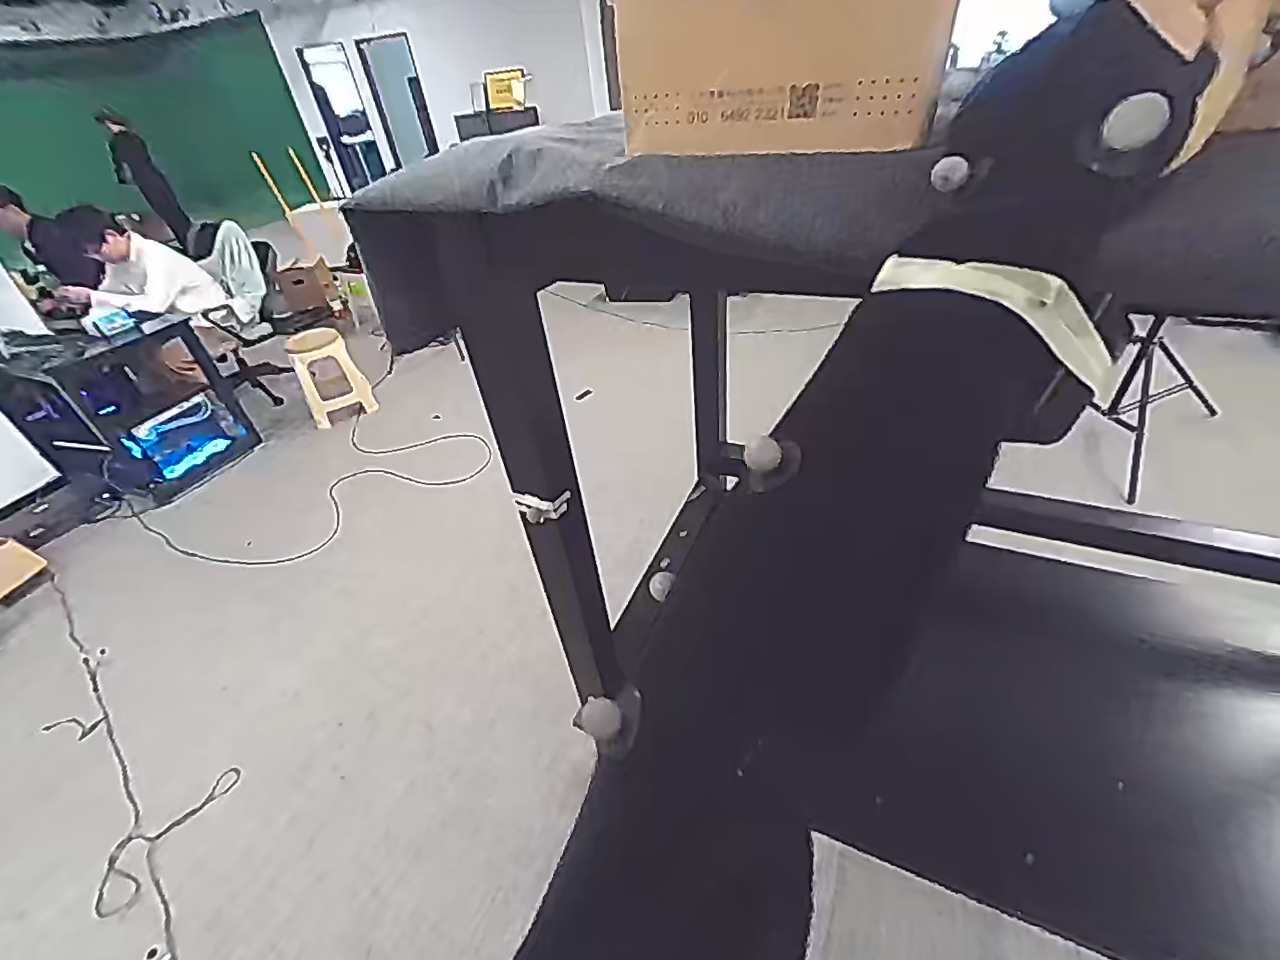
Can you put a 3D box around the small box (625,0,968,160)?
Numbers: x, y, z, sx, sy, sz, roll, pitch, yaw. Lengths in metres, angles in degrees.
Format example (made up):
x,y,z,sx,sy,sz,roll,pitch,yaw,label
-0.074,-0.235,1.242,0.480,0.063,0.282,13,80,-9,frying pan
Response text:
x,y,z,sx,sy,sz,roll,pitch,yaw,label
0.097,-0.287,0.306,0.168,0.176,0.179,13,40,22,small box
